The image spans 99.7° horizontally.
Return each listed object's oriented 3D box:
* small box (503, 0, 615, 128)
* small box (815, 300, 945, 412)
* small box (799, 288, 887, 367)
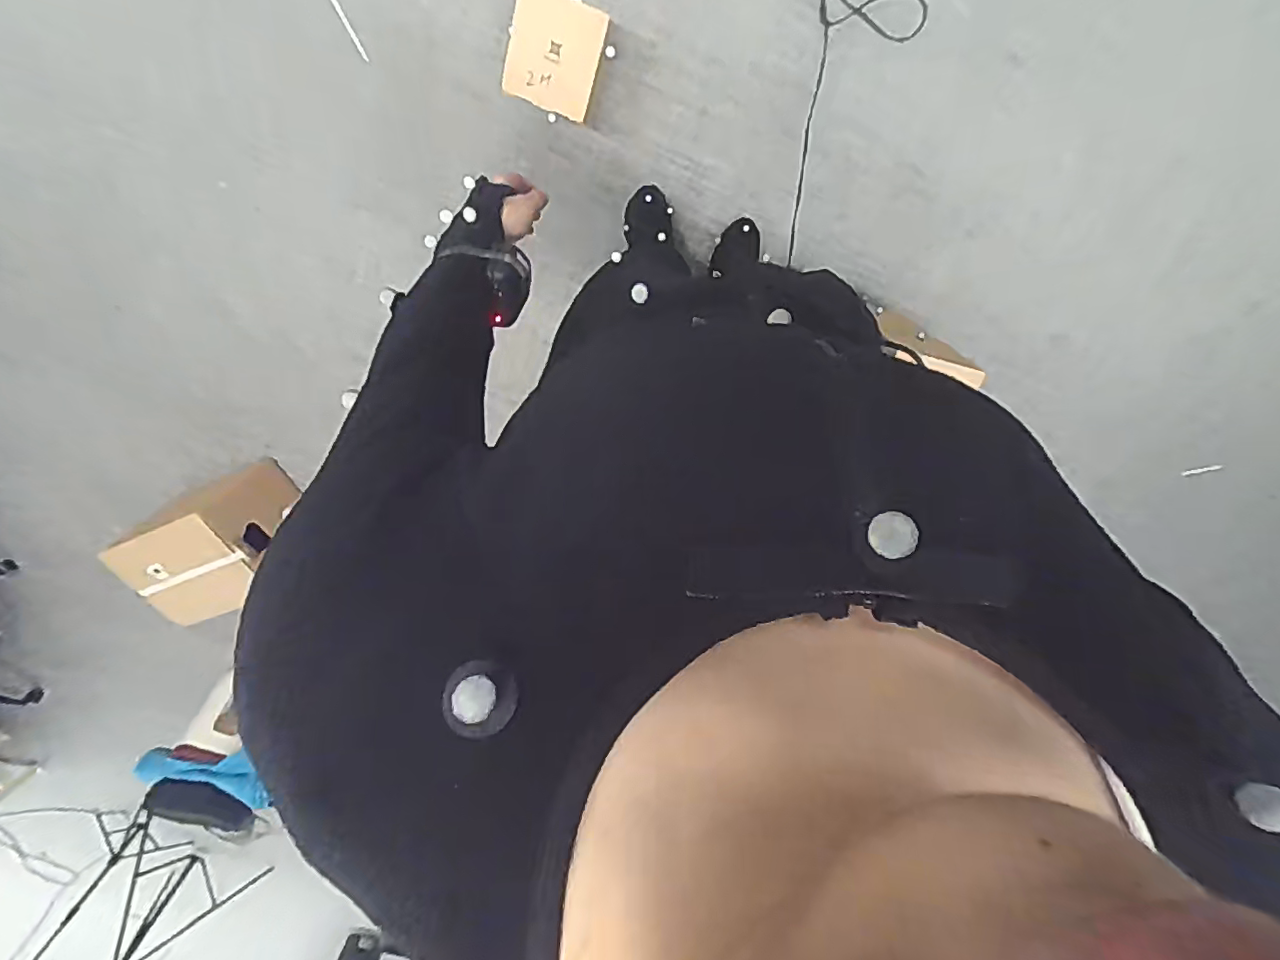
[{"bbox_3d":[-0.153,-0.824,1.066,0.168,0.176,0.179,19,120,-7],"label":"small box"},{"bbox_3d":[0.504,-0.275,1.171,0.179,0.176,0.168,16,122,-7],"label":"small box"},{"bbox_3d":[0.510,-0.351,1.315,0.179,0.176,0.168,19,121,-7],"label":"small box"}]
